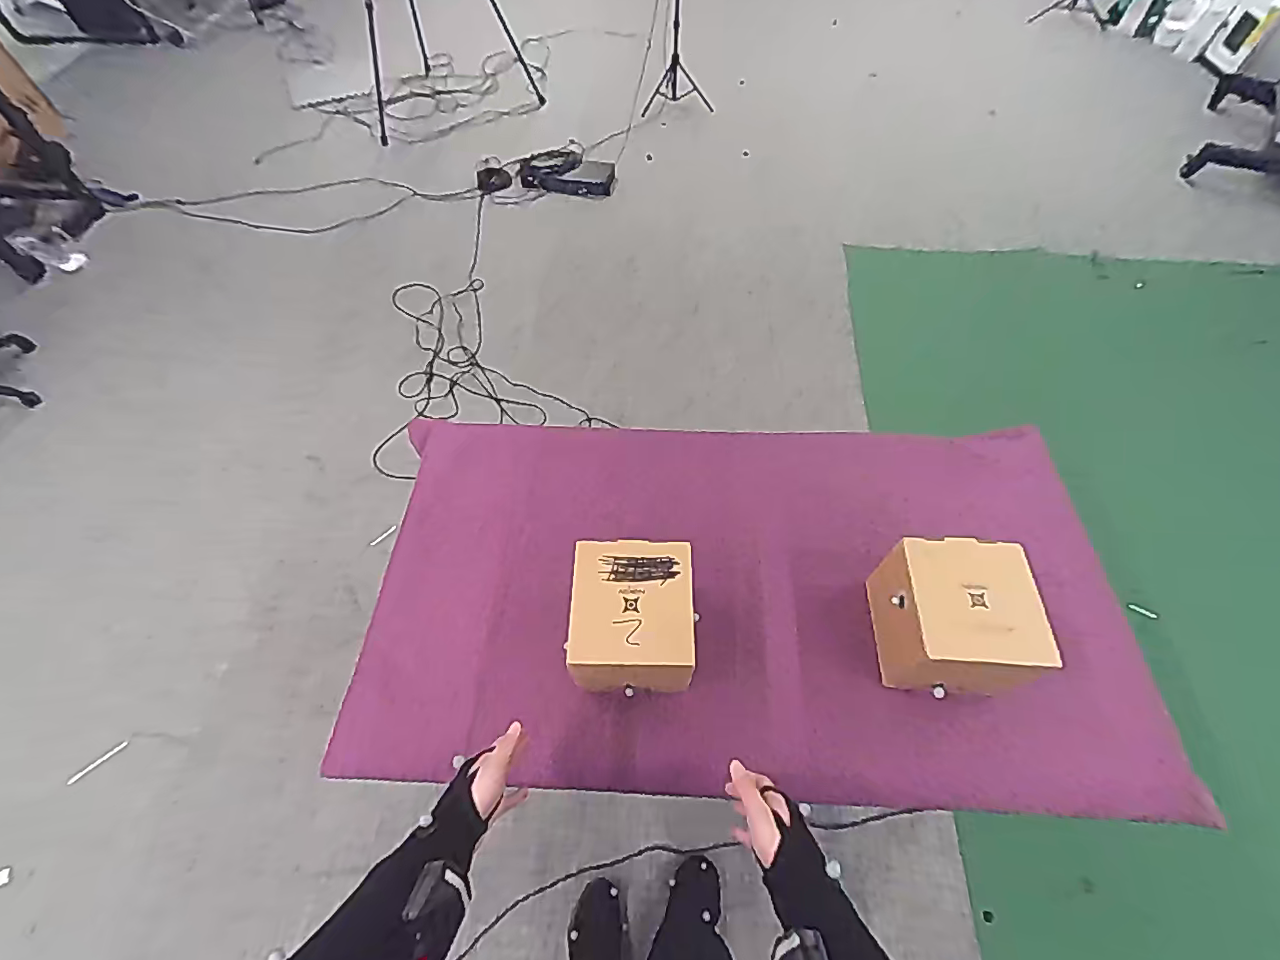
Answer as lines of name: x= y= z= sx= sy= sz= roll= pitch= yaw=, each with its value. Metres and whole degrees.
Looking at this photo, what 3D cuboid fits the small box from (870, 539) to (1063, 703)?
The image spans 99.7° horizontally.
small box: x=0.448 y=0.206 z=0.780 sx=0.168 sy=0.176 sz=0.179 roll=3 pitch=56 yaw=5
